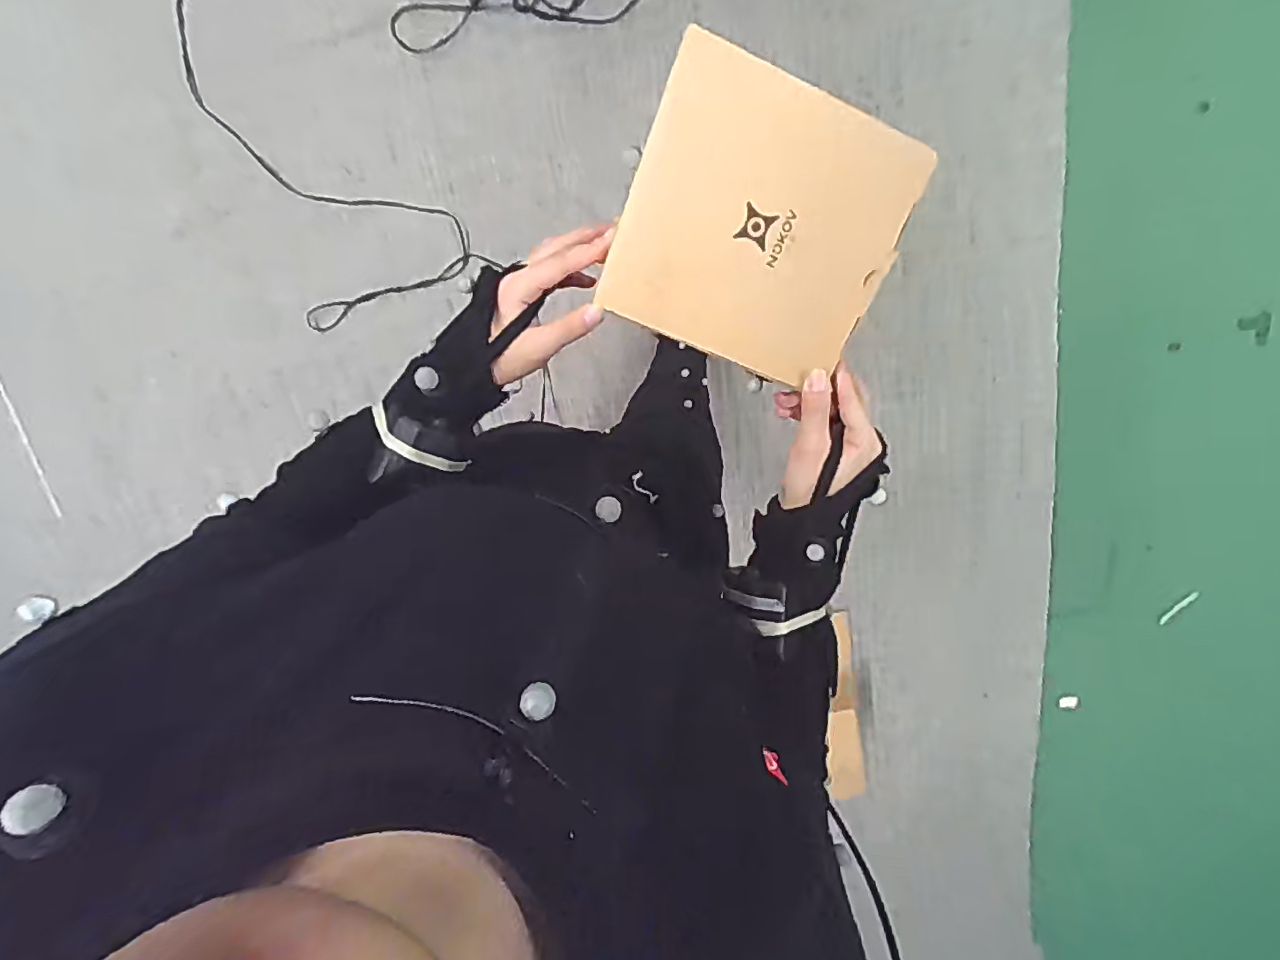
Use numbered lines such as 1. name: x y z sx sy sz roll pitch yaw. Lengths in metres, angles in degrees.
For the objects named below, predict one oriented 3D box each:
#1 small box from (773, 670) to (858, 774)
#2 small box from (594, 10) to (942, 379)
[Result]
1. small box: 0.458 0.632 1.423 0.168 0.176 0.179 -10 104 2
2. small box: 0.074 -0.193 0.416 0.179 0.176 0.168 19 107 -10
